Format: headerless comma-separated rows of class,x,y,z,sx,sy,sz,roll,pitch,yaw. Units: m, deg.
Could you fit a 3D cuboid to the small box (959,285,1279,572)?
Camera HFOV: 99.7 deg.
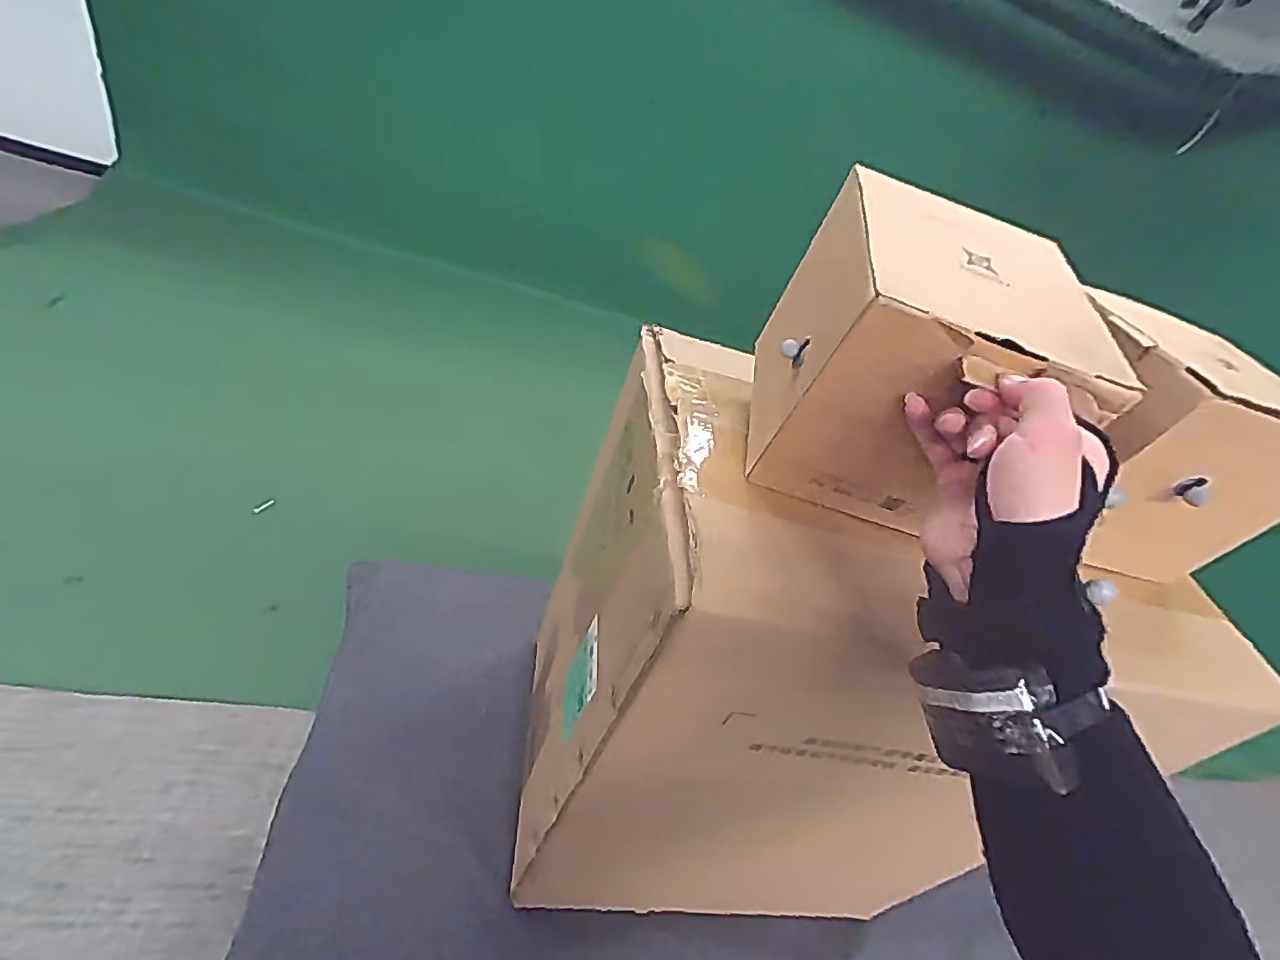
small box,0.421,-0.038,0.474,0.179,0.176,0.168,12,44,-12
